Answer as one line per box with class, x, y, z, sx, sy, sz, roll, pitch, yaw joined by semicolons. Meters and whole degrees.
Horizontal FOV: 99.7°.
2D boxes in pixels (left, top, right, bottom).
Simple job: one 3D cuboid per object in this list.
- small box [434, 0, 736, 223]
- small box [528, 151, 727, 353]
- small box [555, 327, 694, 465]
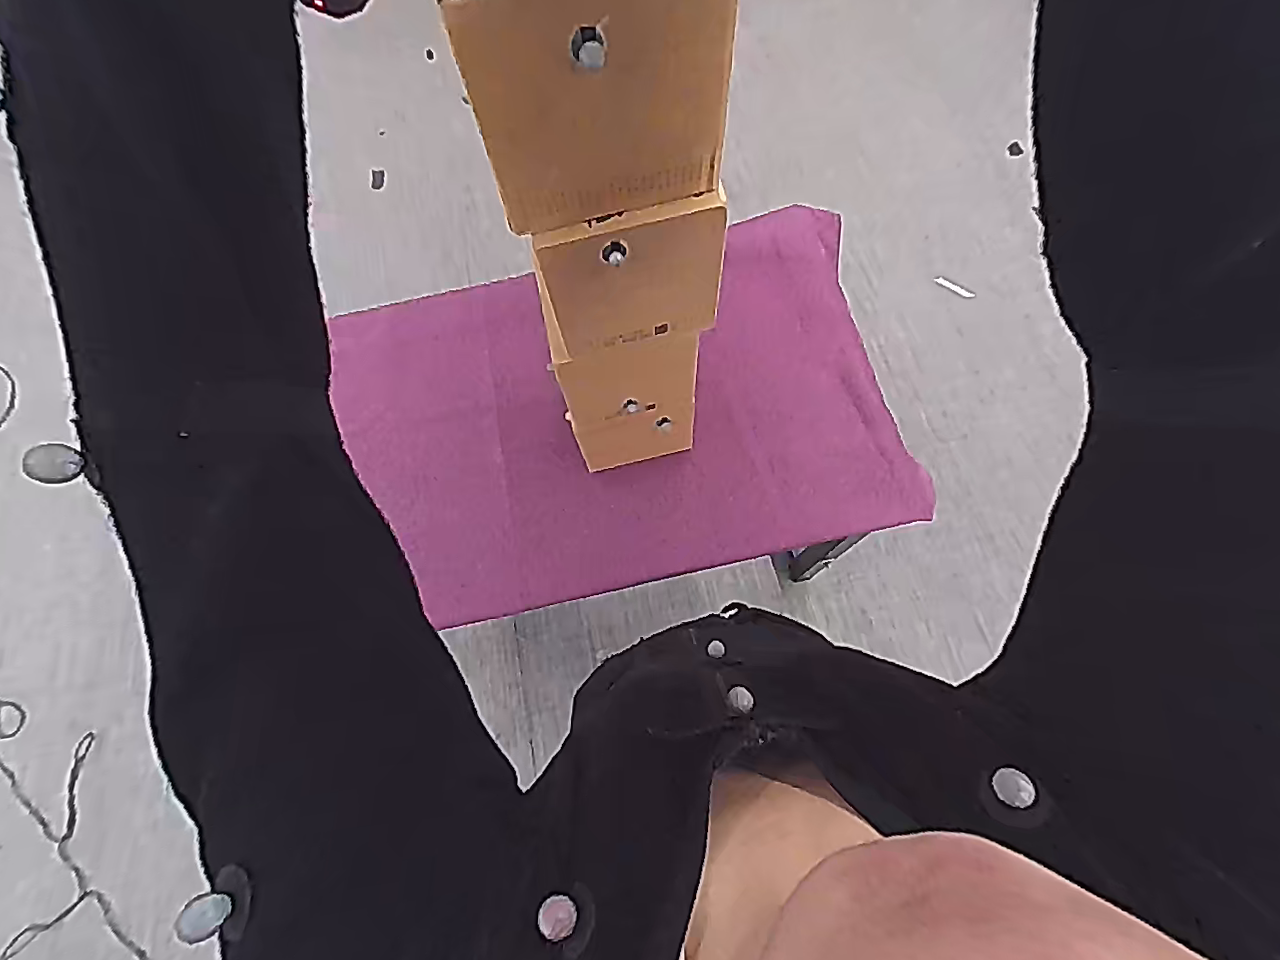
small box;-0.042;-0.323;0.391;0.179;0.176;0.168;-14;70;-1
small box;-0.022;-0.258;0.539;0.168;0.176;0.179;-14;69;-1
small box;-0.021;-0.141;0.845;0.179;0.176;0.168;-14;69;-1
